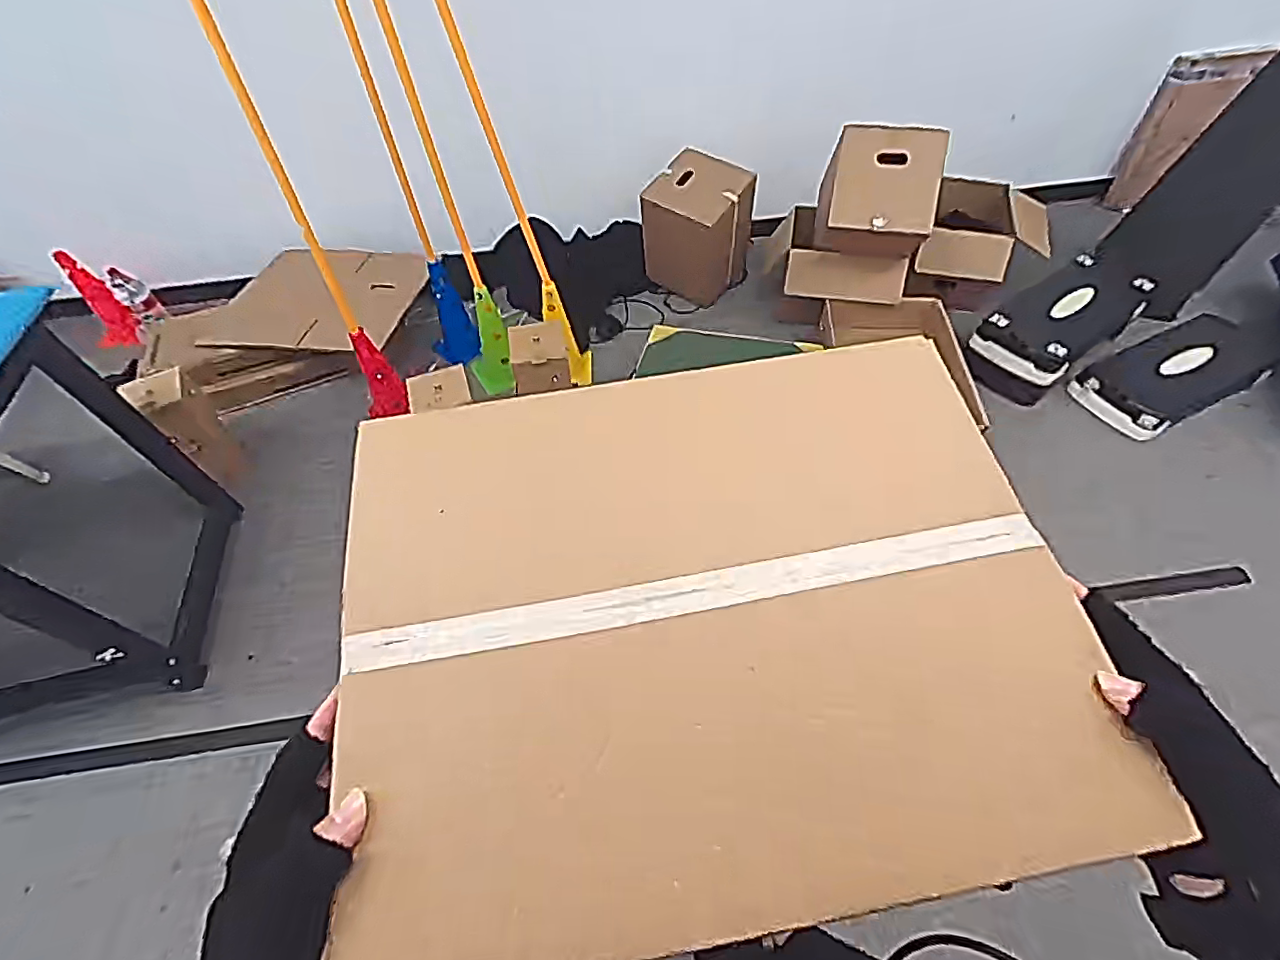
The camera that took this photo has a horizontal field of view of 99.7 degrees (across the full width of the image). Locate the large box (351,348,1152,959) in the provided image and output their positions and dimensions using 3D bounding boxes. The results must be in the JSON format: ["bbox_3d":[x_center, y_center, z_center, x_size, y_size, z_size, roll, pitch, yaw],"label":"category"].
[{"bbox_3d":[0.041,0.137,0.453,0.408,0.320,0.320,-10,63,-3],"label":"large box"}]
